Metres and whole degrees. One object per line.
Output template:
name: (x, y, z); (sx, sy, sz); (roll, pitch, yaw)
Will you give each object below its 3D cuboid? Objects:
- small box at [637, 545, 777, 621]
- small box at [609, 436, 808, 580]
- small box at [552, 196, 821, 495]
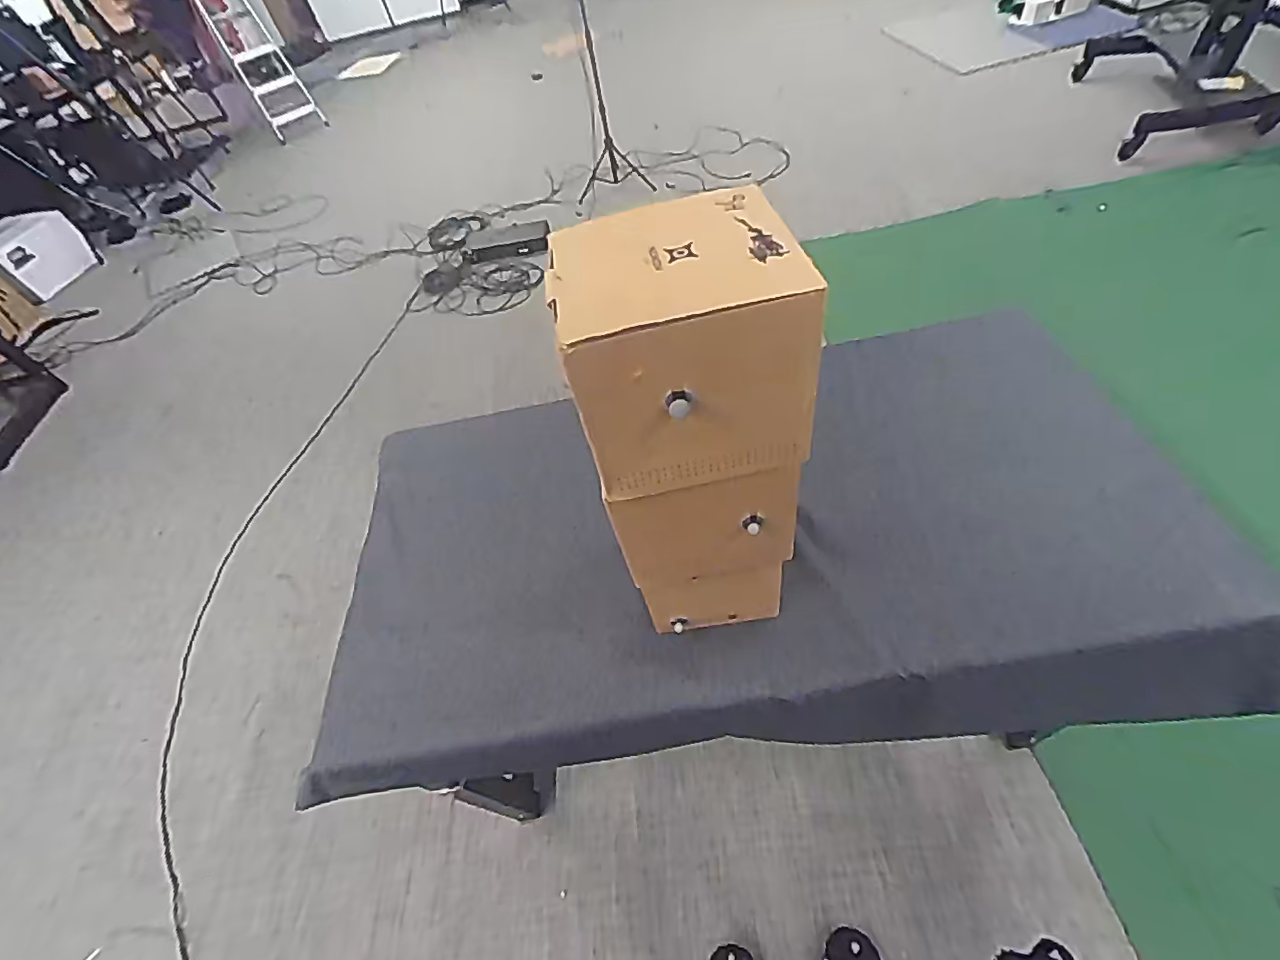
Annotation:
small box: (0.084, 0.076, 0.724); (0.168, 0.176, 0.179); (-9, 50, 4)
small box: (0.058, -0.017, 0.573); (0.179, 0.176, 0.168); (-14, 50, 0)
small box: (0.036, -0.108, 0.462); (0.179, 0.176, 0.168); (-14, 48, 0)
